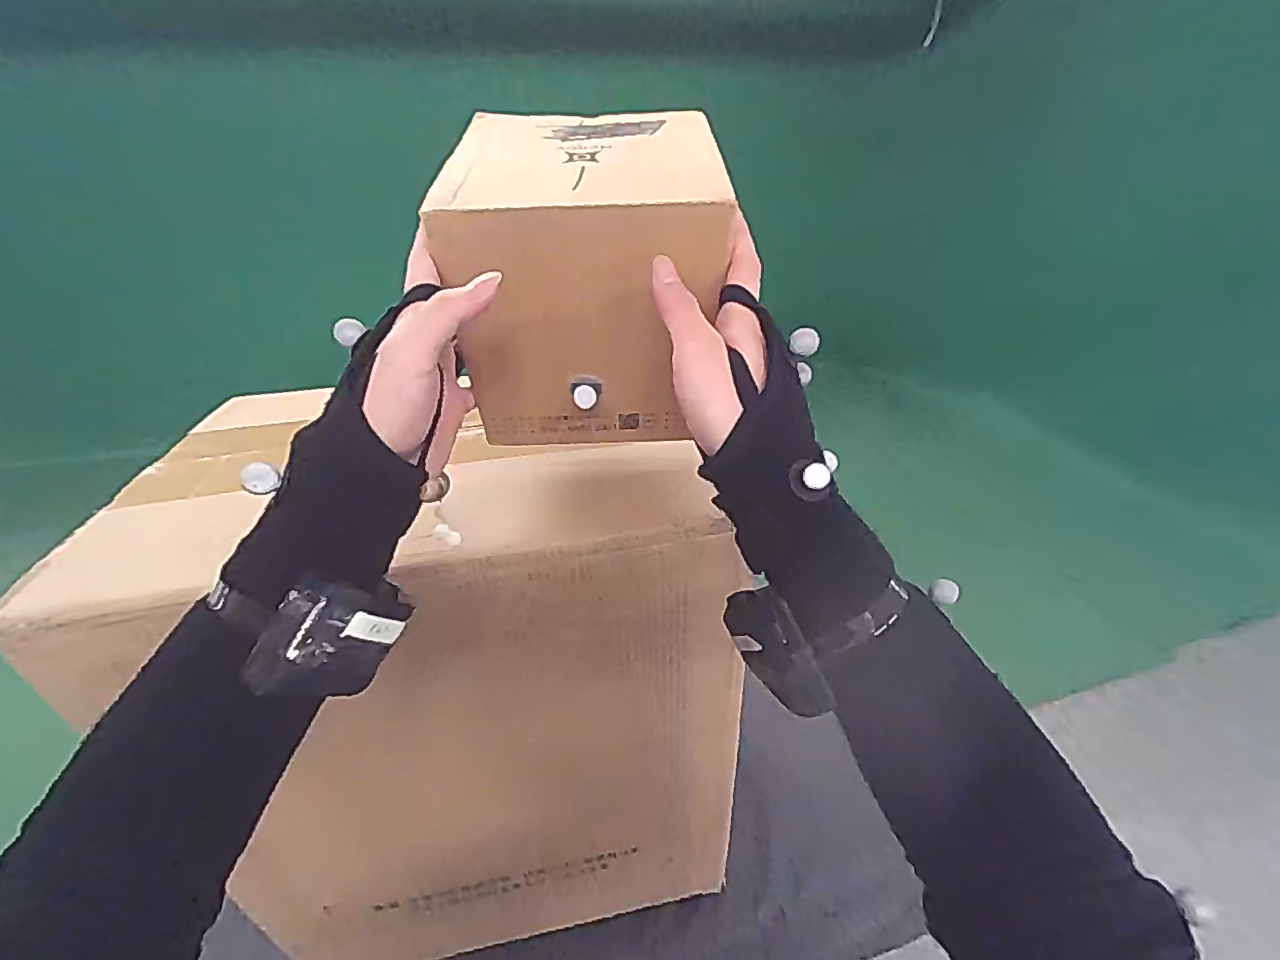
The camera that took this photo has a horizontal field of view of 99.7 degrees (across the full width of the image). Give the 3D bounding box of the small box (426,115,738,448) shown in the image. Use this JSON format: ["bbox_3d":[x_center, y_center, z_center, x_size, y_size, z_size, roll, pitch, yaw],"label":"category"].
[{"bbox_3d":[-0.030,-0.143,0.393,0.168,0.176,0.179,-1,48,0],"label":"small box"}]
